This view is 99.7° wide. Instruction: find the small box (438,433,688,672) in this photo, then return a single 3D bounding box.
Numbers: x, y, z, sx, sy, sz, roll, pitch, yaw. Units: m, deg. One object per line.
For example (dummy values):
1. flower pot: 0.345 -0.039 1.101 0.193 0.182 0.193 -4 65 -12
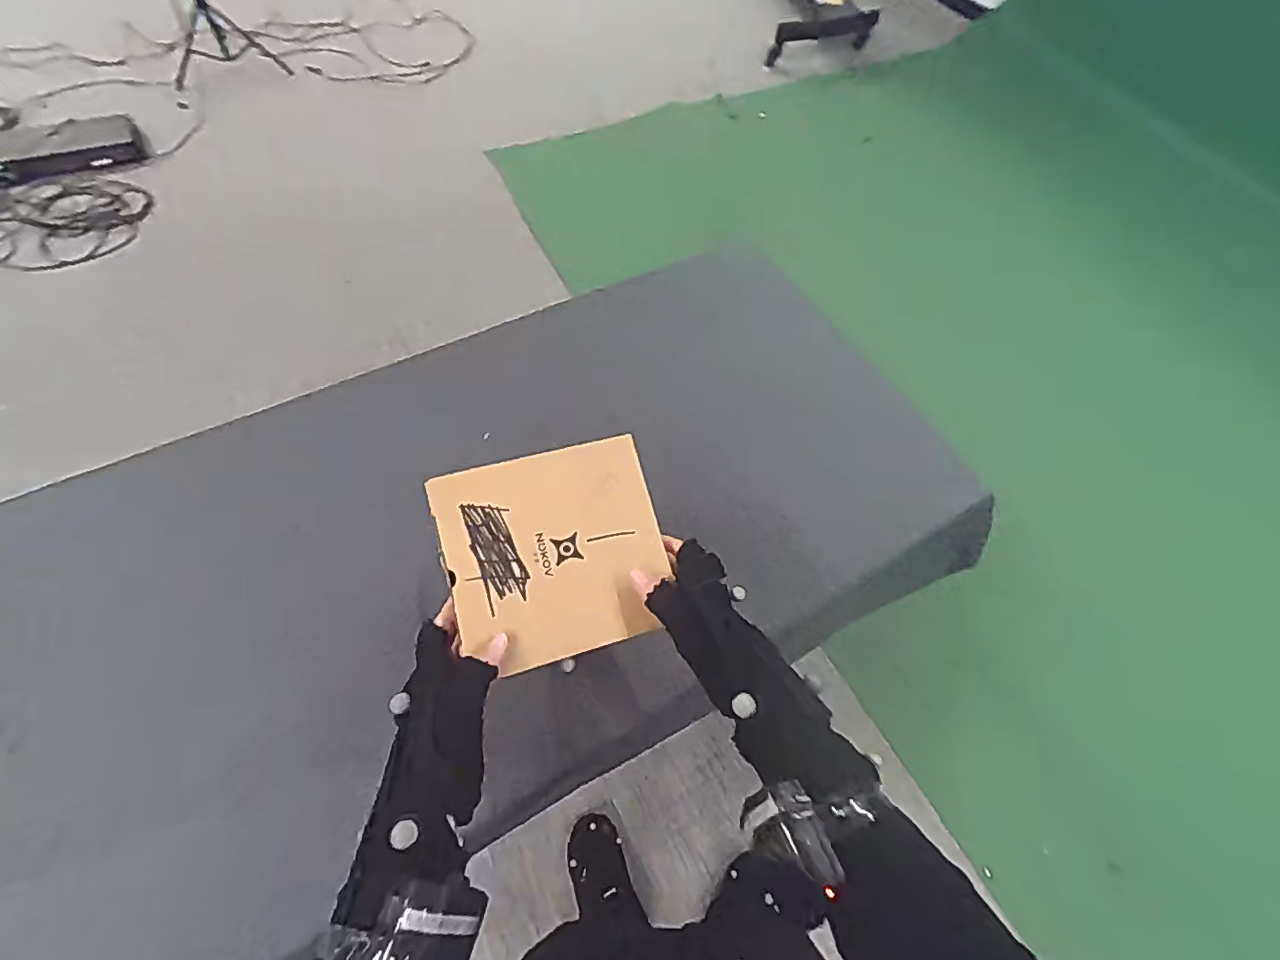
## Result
1. small box: -0.074 0.073 0.514 0.179 0.176 0.168 -13 78 -13
